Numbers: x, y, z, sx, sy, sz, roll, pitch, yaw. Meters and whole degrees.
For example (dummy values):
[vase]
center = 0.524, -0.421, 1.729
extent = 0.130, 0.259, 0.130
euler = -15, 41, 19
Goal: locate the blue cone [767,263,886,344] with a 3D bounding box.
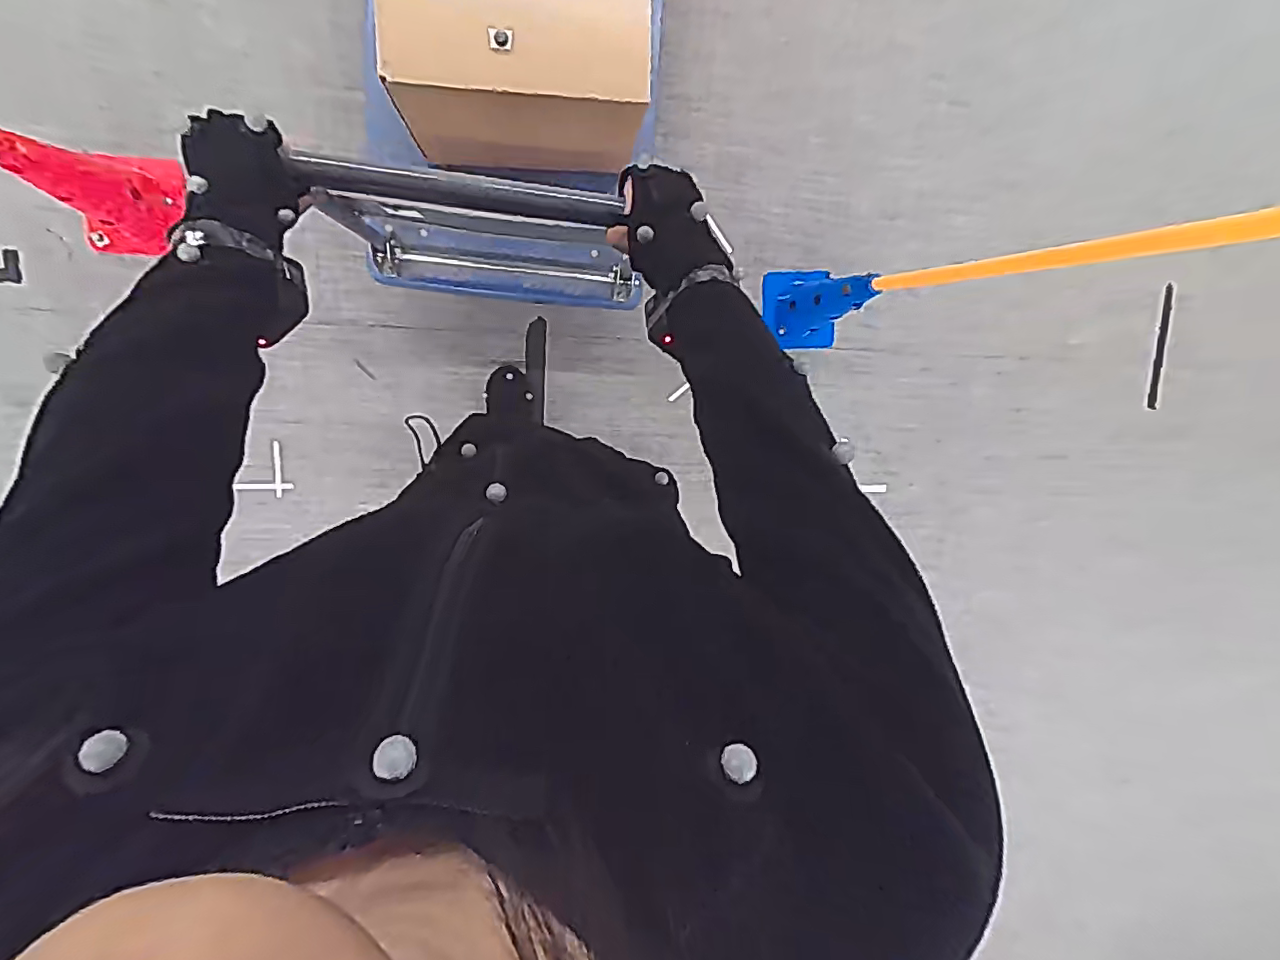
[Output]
[blue cone]
center = 0.455, -0.436, 1.274
extent = 0.193, 0.380, 0.192
euler = -3, 98, -9
